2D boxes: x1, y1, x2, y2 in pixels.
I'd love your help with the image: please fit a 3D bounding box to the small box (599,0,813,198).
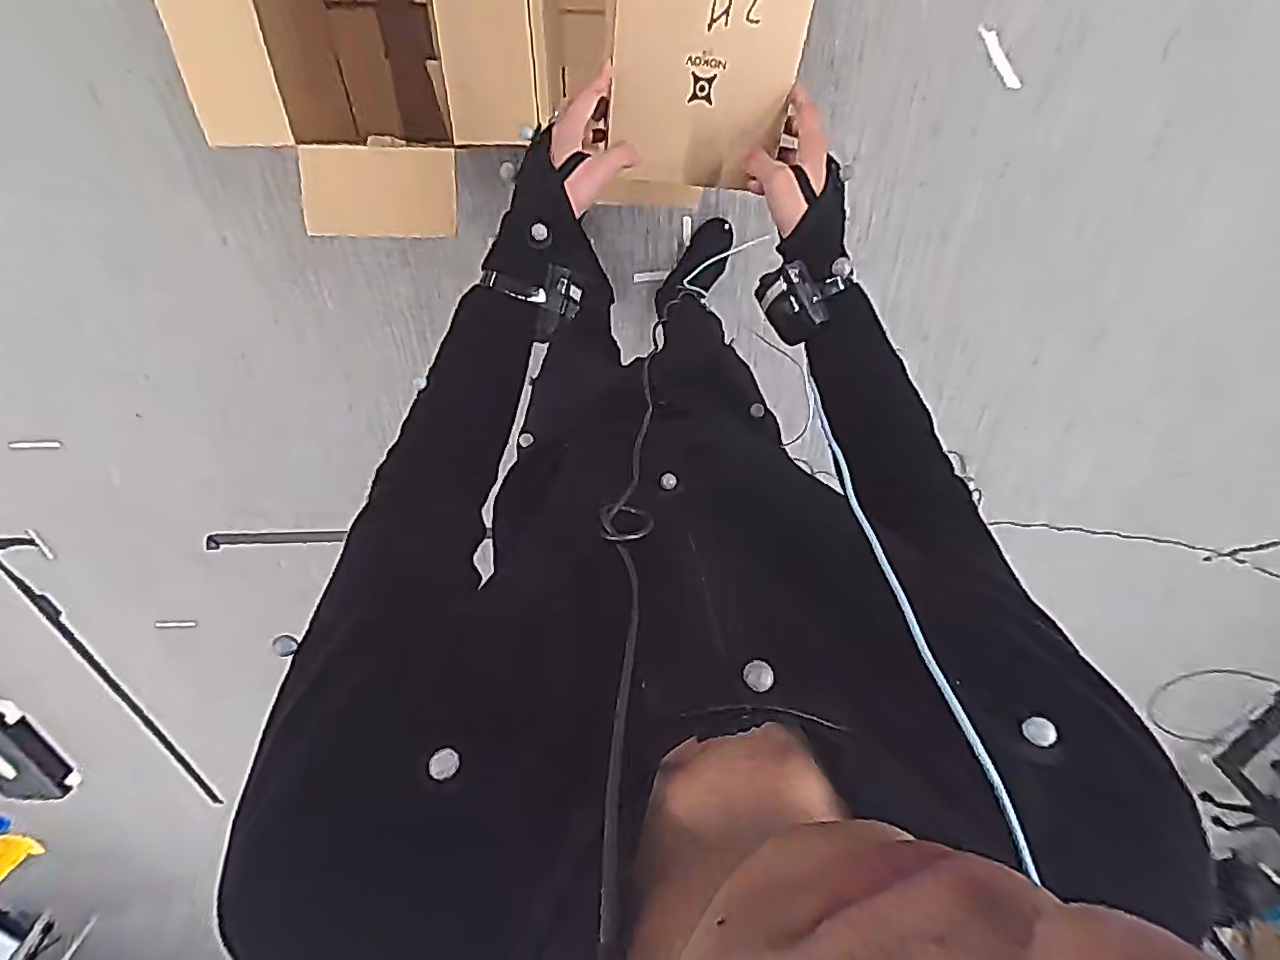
[{"bbox_3d":[0.048,-0.403,0.537,0.168,0.176,0.179,1,130,-8],"label":"small box"}]
